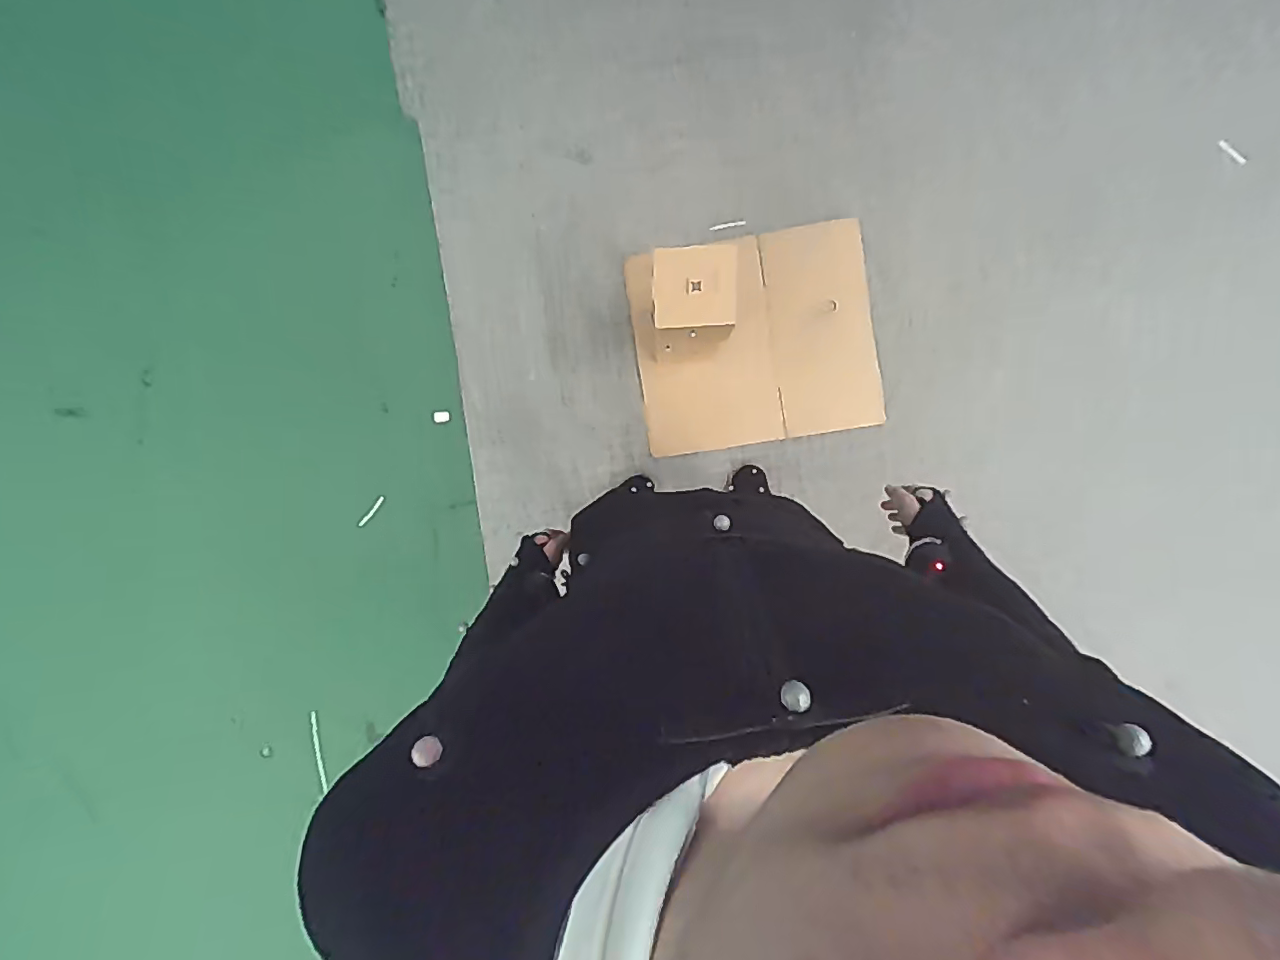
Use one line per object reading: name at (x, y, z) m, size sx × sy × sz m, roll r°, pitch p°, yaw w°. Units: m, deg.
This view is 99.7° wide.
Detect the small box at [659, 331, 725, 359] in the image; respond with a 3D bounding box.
small box at (0.142, -0.442, 1.523) m, size 0.179 × 0.176 × 0.168 m, roll -4°, pitch 92°, yaw 3°

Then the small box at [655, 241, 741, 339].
small box at (0.126, -0.412, 1.197) m, size 0.179 × 0.176 × 0.168 m, roll -2°, pitch 93°, yaw 4°
